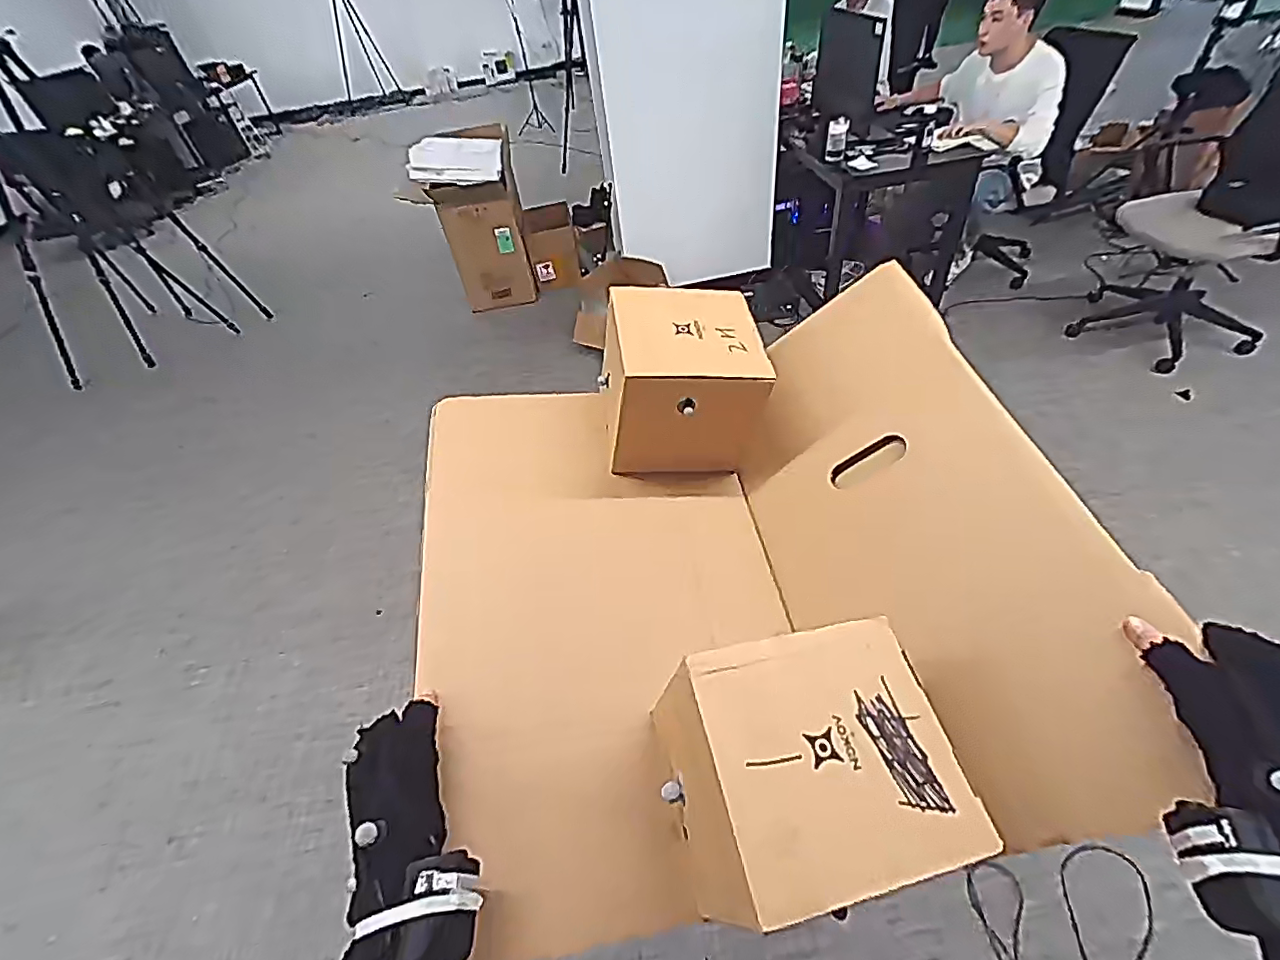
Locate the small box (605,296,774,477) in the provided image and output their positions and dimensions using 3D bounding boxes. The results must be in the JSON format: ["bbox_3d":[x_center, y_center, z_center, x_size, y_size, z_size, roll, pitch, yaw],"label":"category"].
[{"bbox_3d":[0.048,-0.115,0.699,0.179,0.176,0.168,0,53,-10],"label":"small box"}]
